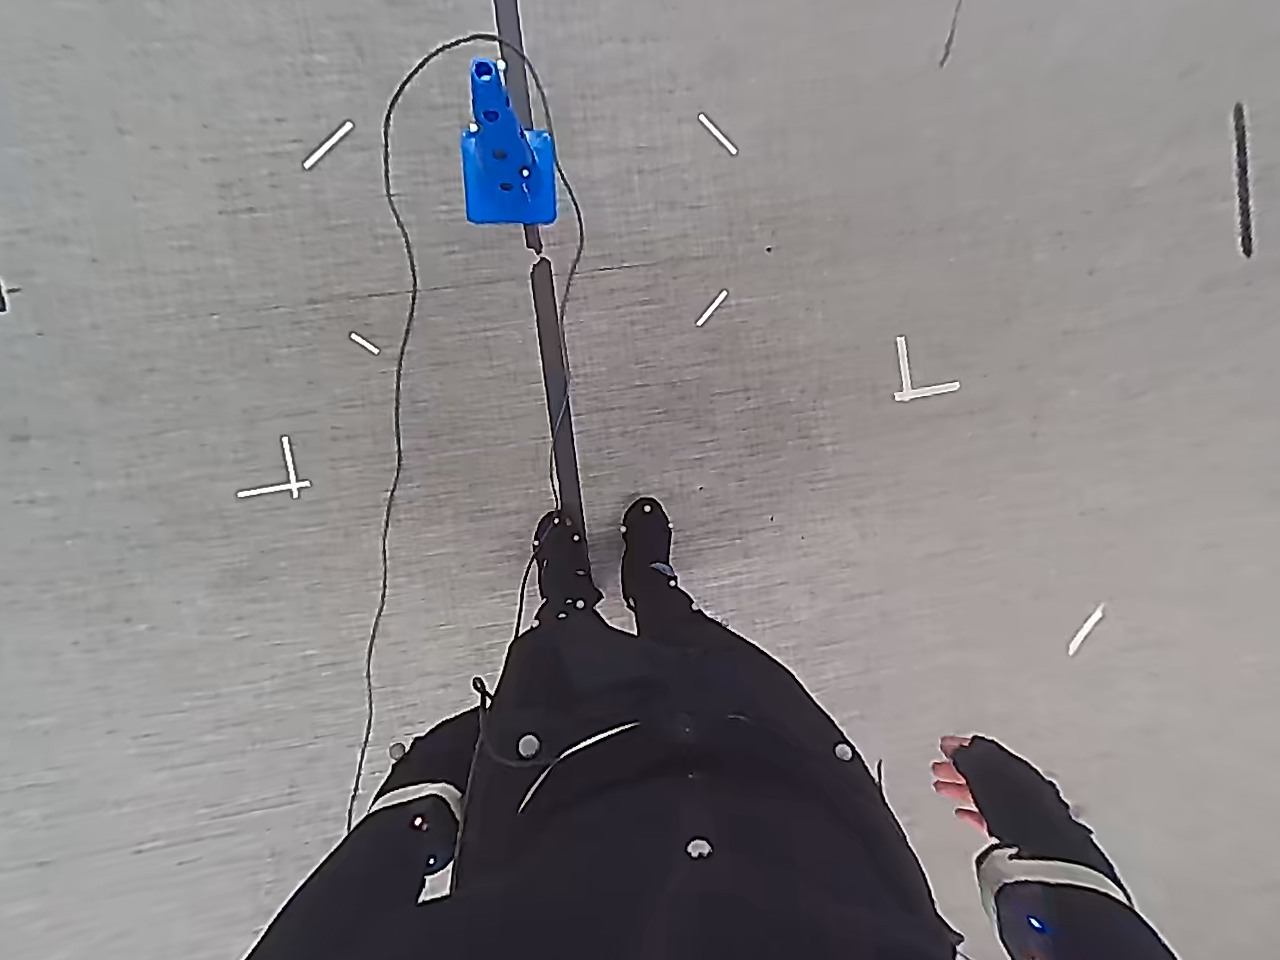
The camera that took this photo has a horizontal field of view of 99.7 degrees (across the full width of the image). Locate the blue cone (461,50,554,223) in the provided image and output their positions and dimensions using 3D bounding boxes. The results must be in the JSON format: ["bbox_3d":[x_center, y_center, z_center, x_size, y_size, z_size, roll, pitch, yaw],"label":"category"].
[{"bbox_3d":[-0.268,-0.649,1.018,0.193,0.380,0.192,-5,95,-6],"label":"blue cone"}]
